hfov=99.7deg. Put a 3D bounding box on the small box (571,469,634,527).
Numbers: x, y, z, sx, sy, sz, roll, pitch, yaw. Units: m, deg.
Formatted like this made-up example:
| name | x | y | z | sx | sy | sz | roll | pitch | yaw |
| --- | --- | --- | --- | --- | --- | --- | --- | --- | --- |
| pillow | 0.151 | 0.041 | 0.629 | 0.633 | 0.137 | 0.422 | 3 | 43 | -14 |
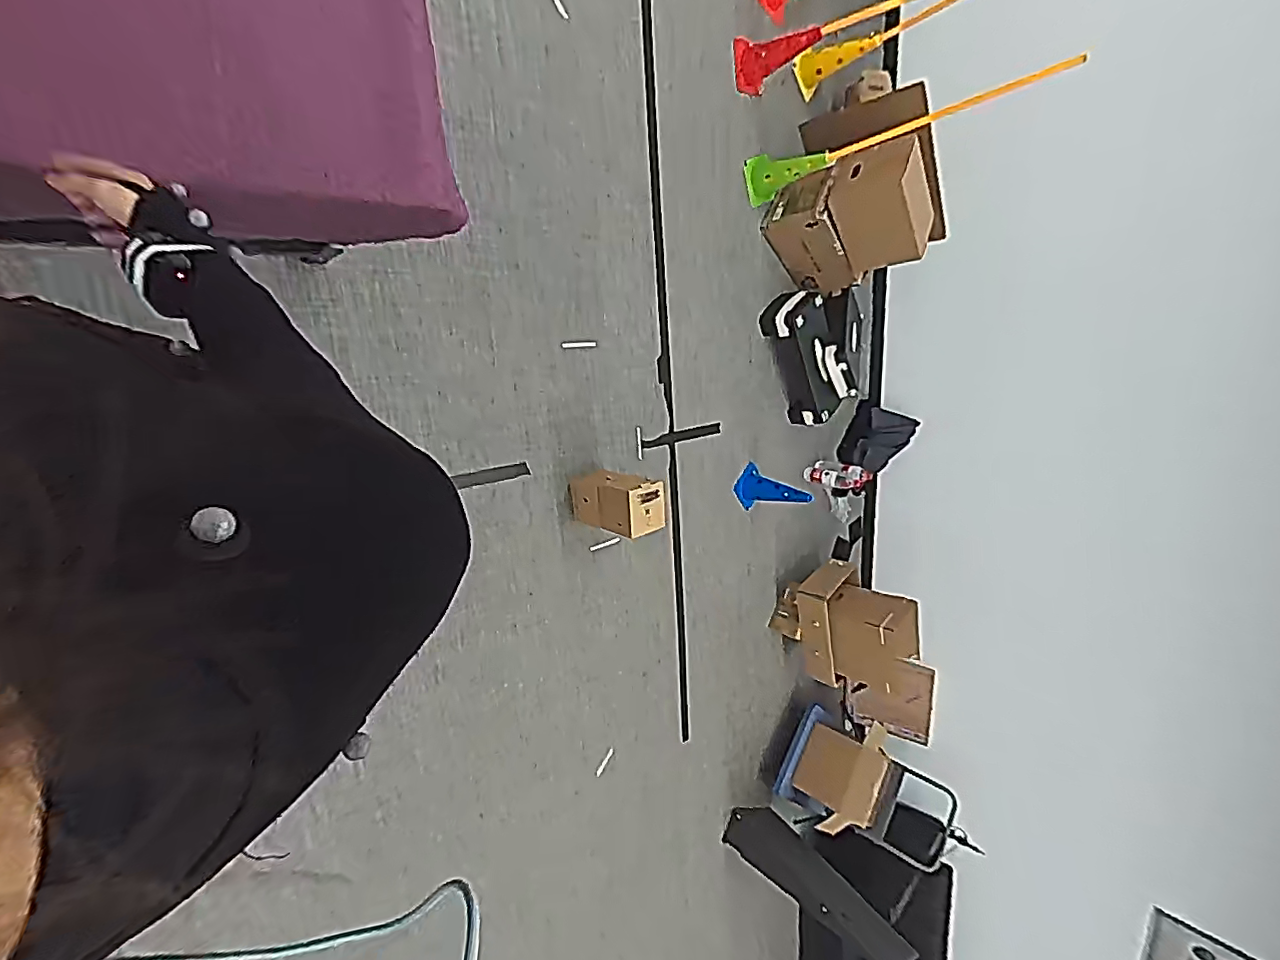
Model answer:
| name | x | y | z | sx | sy | sz | roll | pitch | yaw |
| --- | --- | --- | --- | --- | --- | --- | --- | --- | --- |
| small box | -0.149 | 0.063 | 2.057 | 0.179 | 0.176 | 0.168 | -21 | 112 | -39 |
